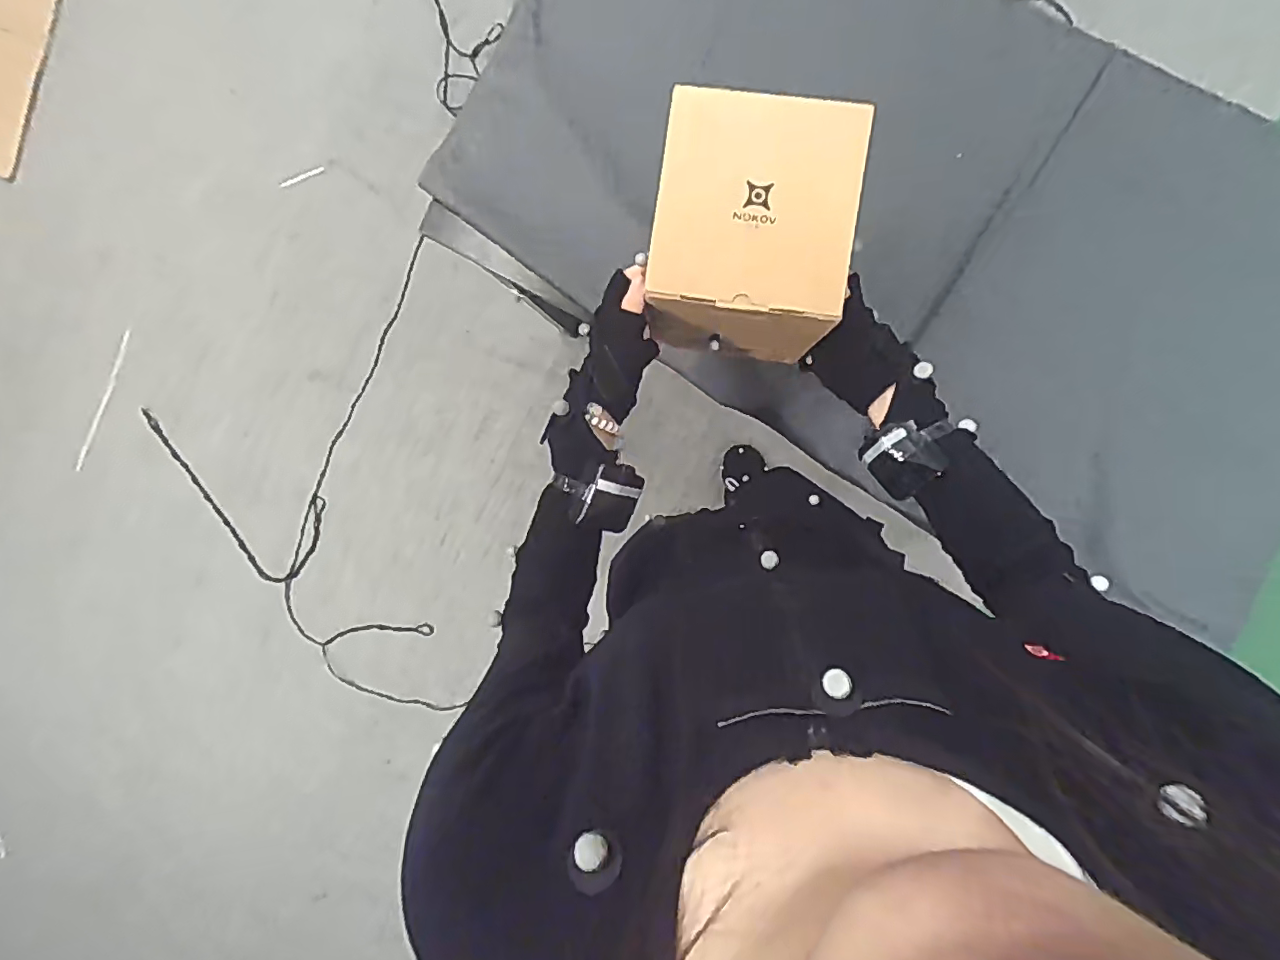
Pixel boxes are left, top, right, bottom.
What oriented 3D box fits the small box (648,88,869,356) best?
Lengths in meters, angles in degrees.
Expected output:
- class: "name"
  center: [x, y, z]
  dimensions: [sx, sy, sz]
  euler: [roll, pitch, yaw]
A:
- class: "small box"
  center: [0.103, -0.236, 0.536]
  dimensions: [0.168, 0.176, 0.179]
  euler: [9, 93, 3]
